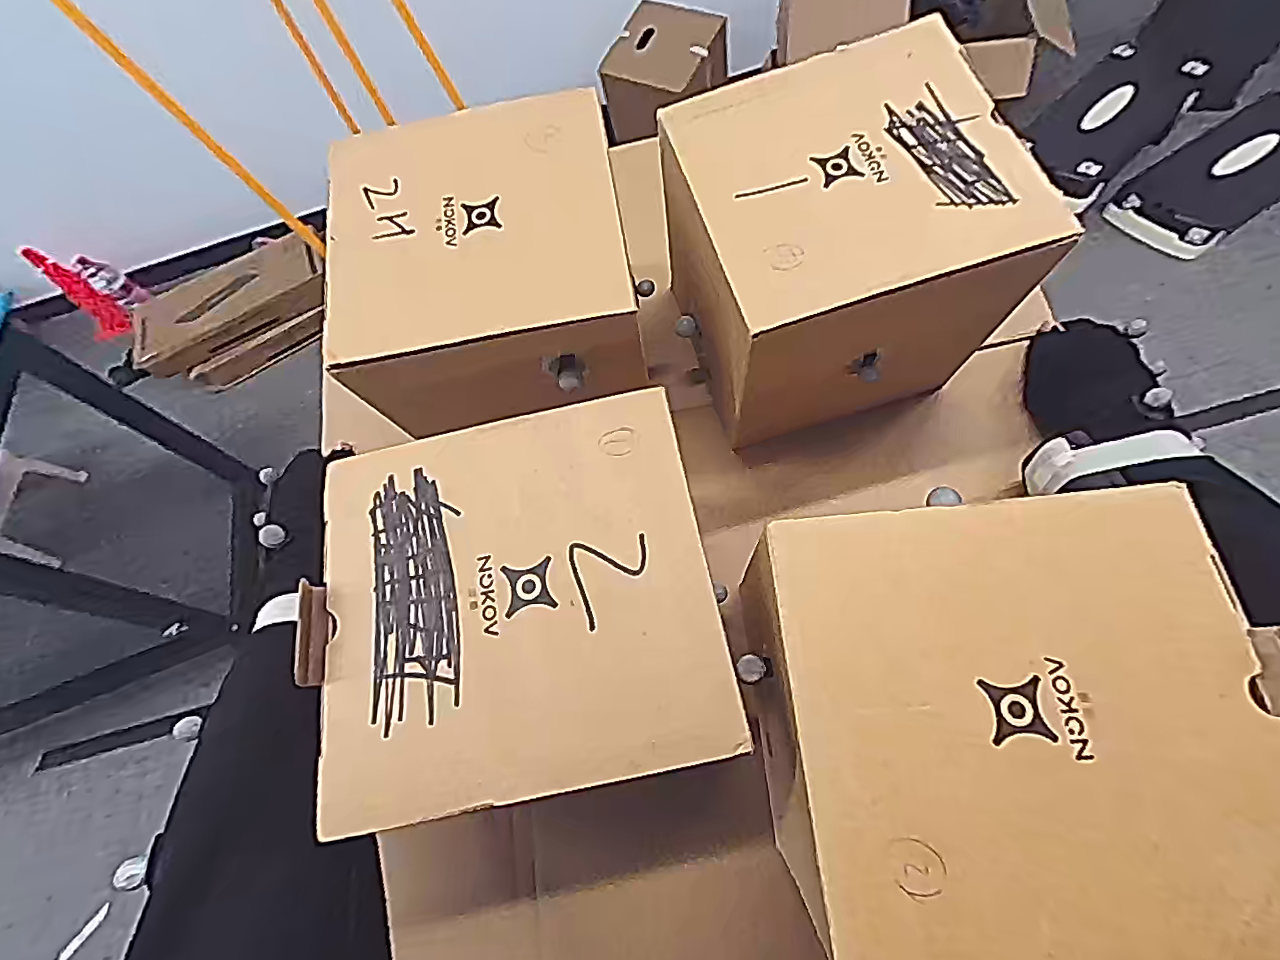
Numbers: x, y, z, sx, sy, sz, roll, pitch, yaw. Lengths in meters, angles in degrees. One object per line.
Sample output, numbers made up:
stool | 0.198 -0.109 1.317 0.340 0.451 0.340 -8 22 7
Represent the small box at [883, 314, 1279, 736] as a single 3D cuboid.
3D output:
small box | 0.246 0.030 0.285 0.179 0.176 0.168 6 77 8
